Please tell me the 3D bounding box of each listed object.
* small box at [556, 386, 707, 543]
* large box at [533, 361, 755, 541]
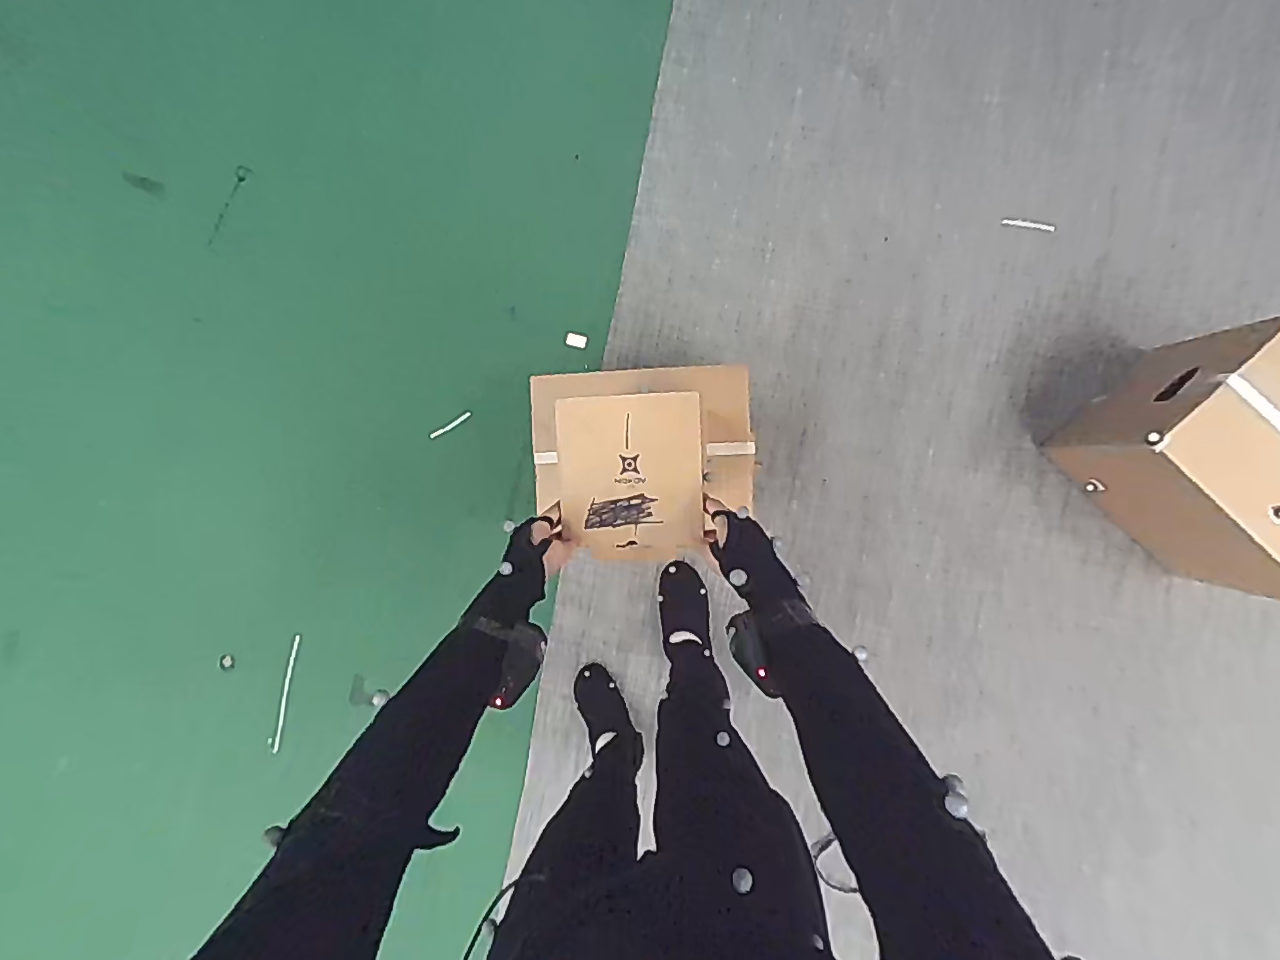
[{"bbox_3d":[-0.001,-0.025,0.685,0.168,0.176,0.179,-1,96,8],"label":"small box"},{"bbox_3d":[0.023,-0.054,1.141,0.408,0.320,0.320,-3,90,7],"label":"large box"}]
